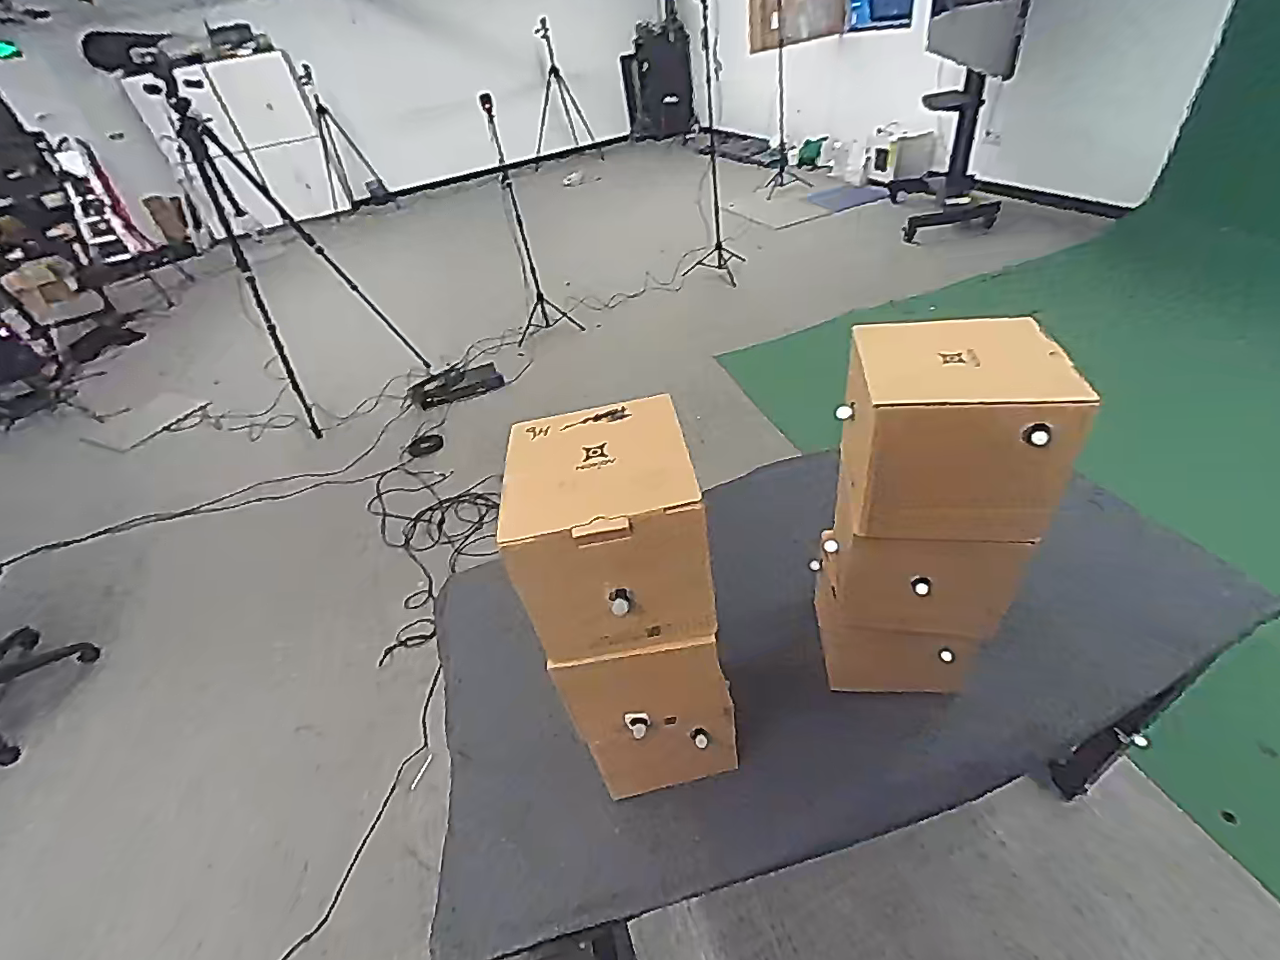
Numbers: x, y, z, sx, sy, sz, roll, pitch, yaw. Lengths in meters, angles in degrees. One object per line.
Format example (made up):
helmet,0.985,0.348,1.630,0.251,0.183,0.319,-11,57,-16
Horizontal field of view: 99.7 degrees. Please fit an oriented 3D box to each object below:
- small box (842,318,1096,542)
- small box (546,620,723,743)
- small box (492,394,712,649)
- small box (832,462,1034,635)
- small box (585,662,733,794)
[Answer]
small box,0.309,-0.051,0.560,0.179,0.176,0.168,1,40,13
small box,-0.003,0.173,0.628,0.168,0.176,0.179,-11,40,3
small box,-0.030,0.045,0.528,0.168,0.176,0.179,-11,40,2
small box,0.336,0.071,0.663,0.179,0.176,0.168,2,41,16
small box,0.022,0.294,0.734,0.179,0.176,0.168,-13,39,-2
